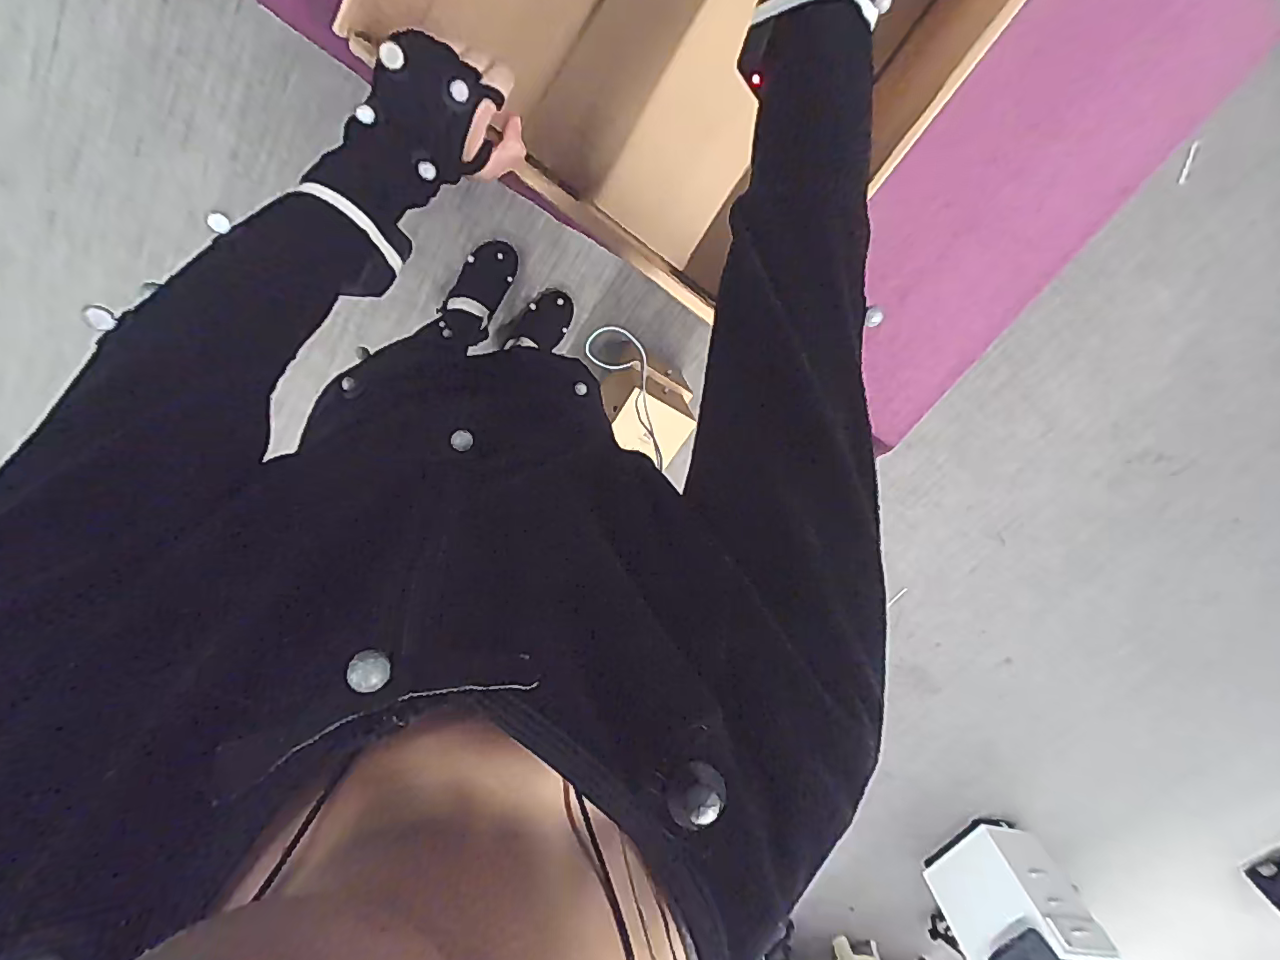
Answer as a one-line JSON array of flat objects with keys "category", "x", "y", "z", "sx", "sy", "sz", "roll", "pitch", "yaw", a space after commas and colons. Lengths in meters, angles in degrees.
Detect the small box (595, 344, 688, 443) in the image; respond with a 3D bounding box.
[{"category": "small box", "x": -0.002, "y": -0.232, "z": 1.411, "sx": 0.179, "sy": 0.176, "sz": 0.168, "roll": 28, "pitch": 112, "yaw": -21}]
